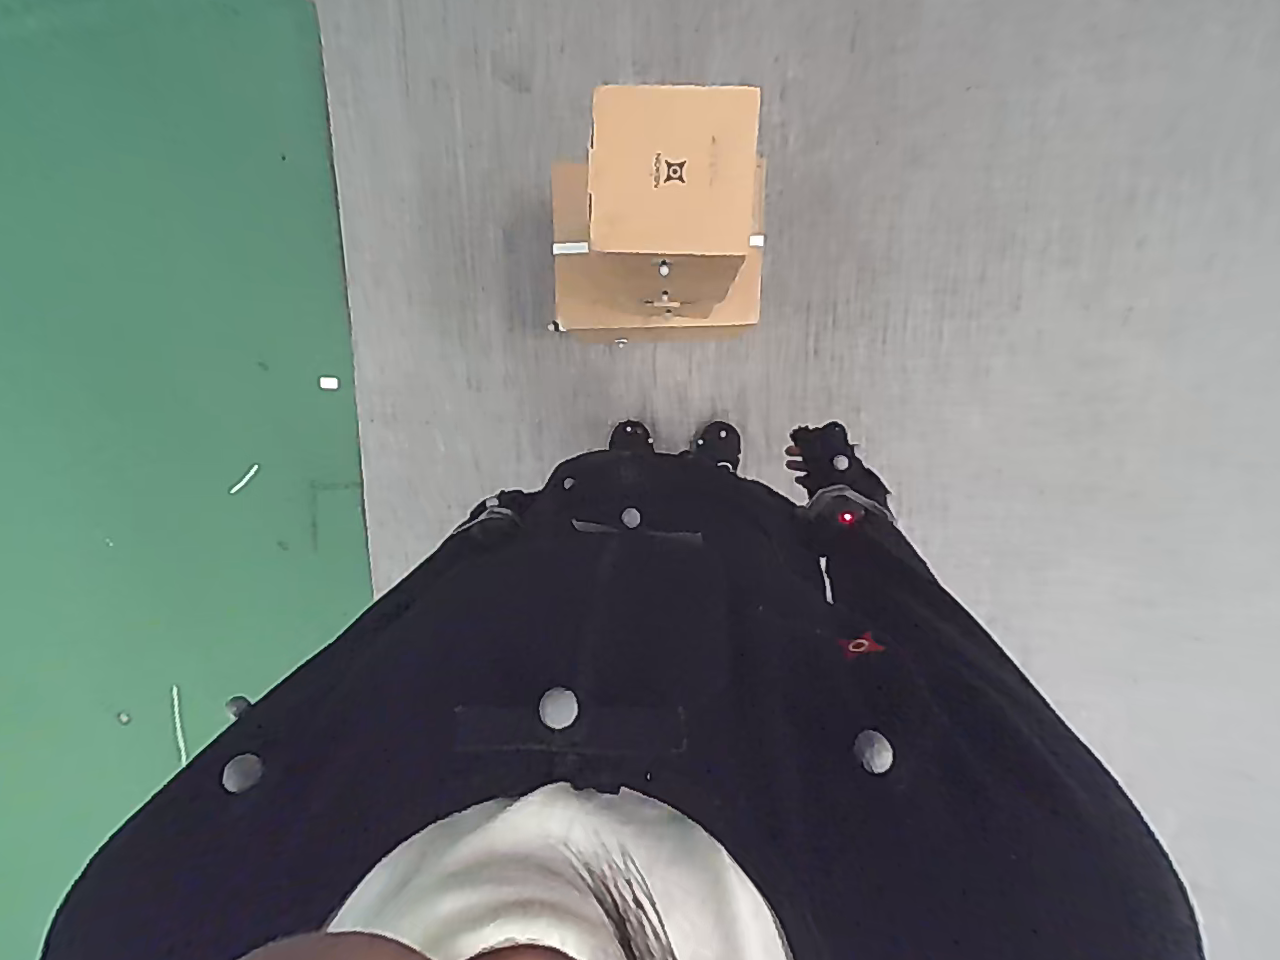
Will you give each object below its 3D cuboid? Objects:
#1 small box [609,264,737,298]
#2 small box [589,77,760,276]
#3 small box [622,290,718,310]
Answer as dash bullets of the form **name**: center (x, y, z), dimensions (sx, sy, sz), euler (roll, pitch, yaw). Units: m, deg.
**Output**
- **small box**: center (0.054, -0.371, 0.804), dimensions (0.179, 0.176, 0.168), euler (3, 100, 6)
- **small box**: center (0.040, -0.344, 0.645), dimensions (0.179, 0.176, 0.168), euler (2, 101, 4)
- **small box**: center (0.062, -0.402, 0.966), dimensions (0.168, 0.176, 0.179), euler (3, 101, 5)
